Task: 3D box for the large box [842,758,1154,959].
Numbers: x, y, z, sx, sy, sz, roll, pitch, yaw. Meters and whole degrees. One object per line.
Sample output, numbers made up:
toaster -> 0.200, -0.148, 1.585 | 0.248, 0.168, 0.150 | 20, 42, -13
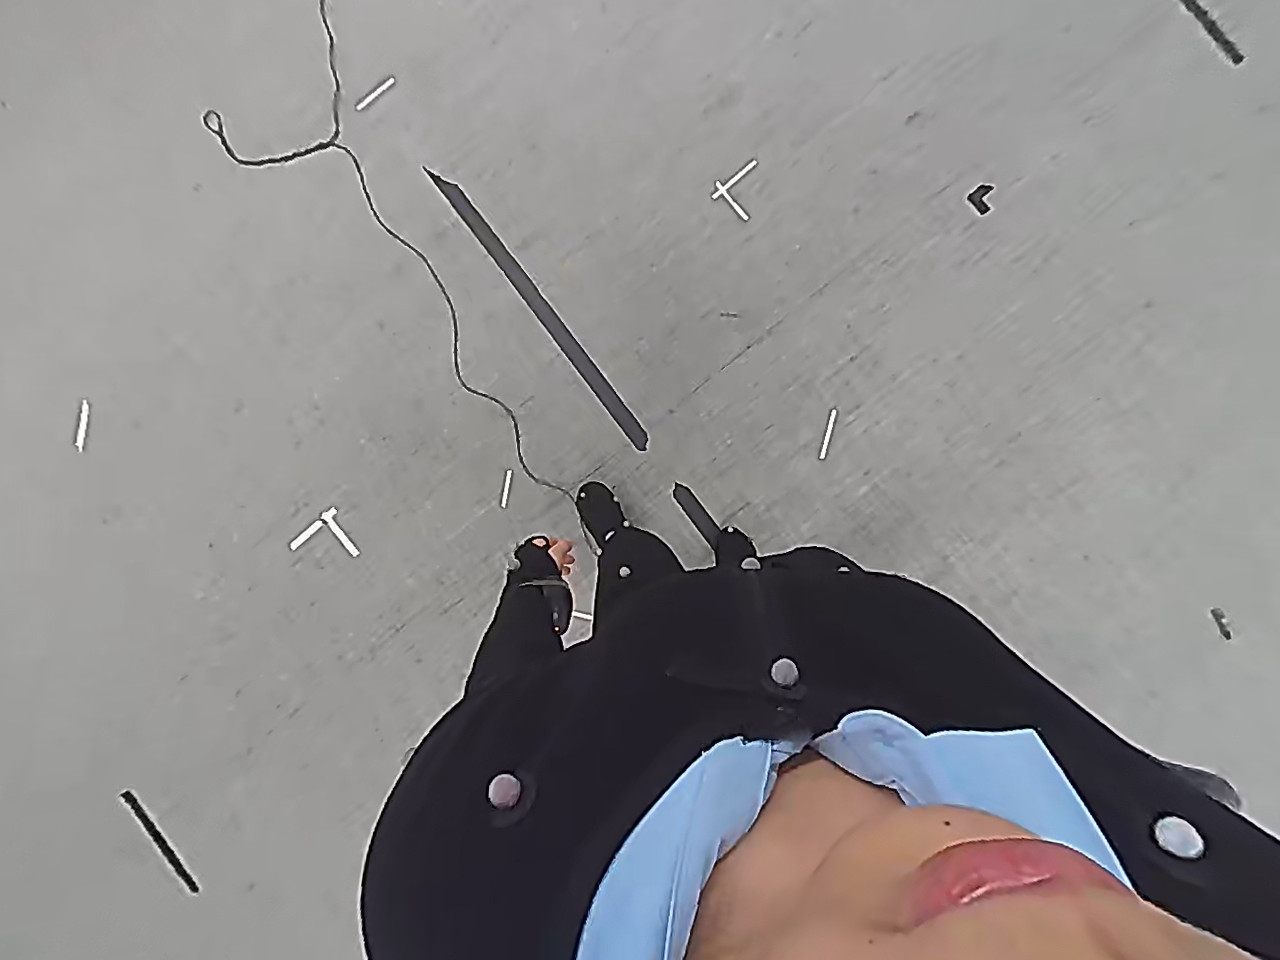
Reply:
large box -> 0.709, 0.861, 1.126 | 0.408, 0.320, 0.320 | -24, 88, 3
